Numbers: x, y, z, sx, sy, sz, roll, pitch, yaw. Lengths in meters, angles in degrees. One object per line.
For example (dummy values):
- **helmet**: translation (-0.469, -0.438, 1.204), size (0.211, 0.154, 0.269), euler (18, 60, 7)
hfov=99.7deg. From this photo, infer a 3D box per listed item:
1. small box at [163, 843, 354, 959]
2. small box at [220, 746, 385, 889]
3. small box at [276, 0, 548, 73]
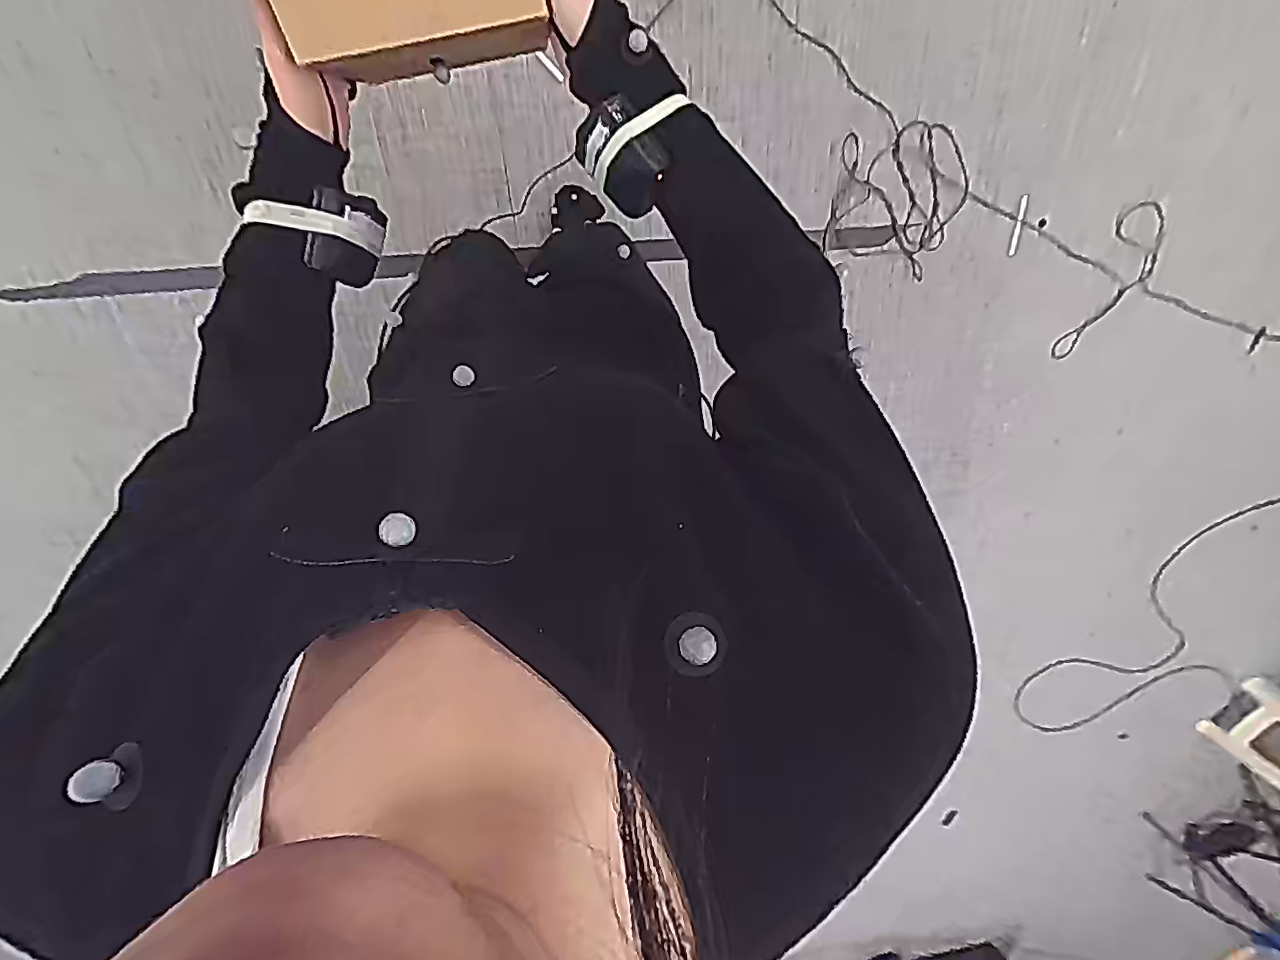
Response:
- **small box**: translation (-0.557, 0.670, 0.803), size (0.168, 0.176, 0.179), euler (-5, 118, -4)
- **small box**: translation (-0.573, 0.590, 0.945), size (0.168, 0.176, 0.179), euler (-6, 118, -4)
- **small box**: translation (-0.160, -0.395, 0.363), size (0.168, 0.176, 0.179), euler (-13, 123, -2)
